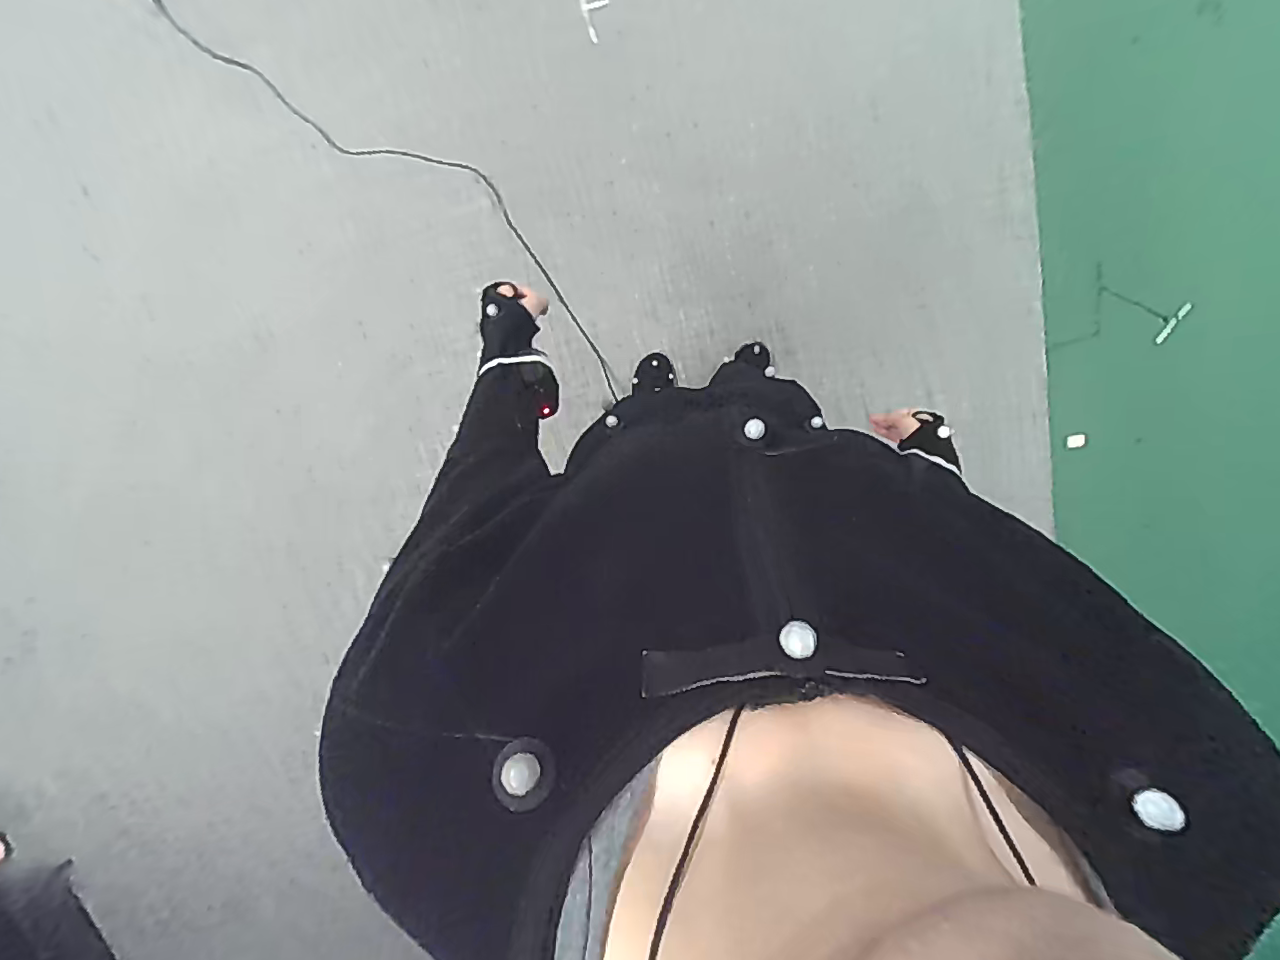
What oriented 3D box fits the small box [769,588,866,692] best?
[{"bbox_3d":[0.435,0.394,1.356,0.179,0.176,0.168,-17,102,1],"label":"small box"}]
